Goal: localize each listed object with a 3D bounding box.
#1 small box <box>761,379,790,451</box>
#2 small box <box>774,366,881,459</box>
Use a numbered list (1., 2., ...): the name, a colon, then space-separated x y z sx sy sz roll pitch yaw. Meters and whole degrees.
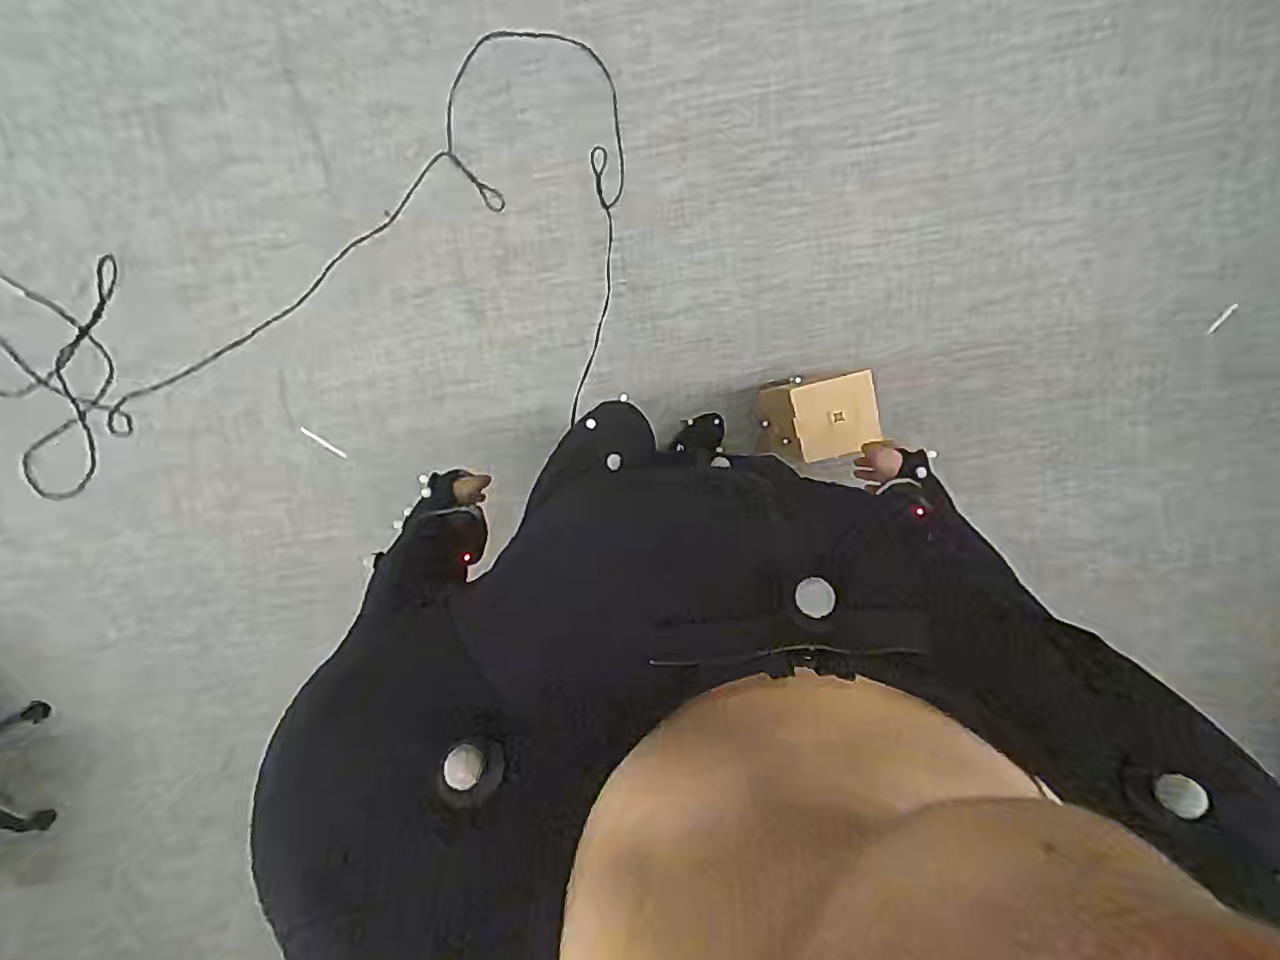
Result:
1. small box: 0.415 -0.176 1.384 0.179 0.176 0.168 -11 100 2
2. small box: 0.412 -0.156 1.222 0.179 0.176 0.168 -15 101 1
